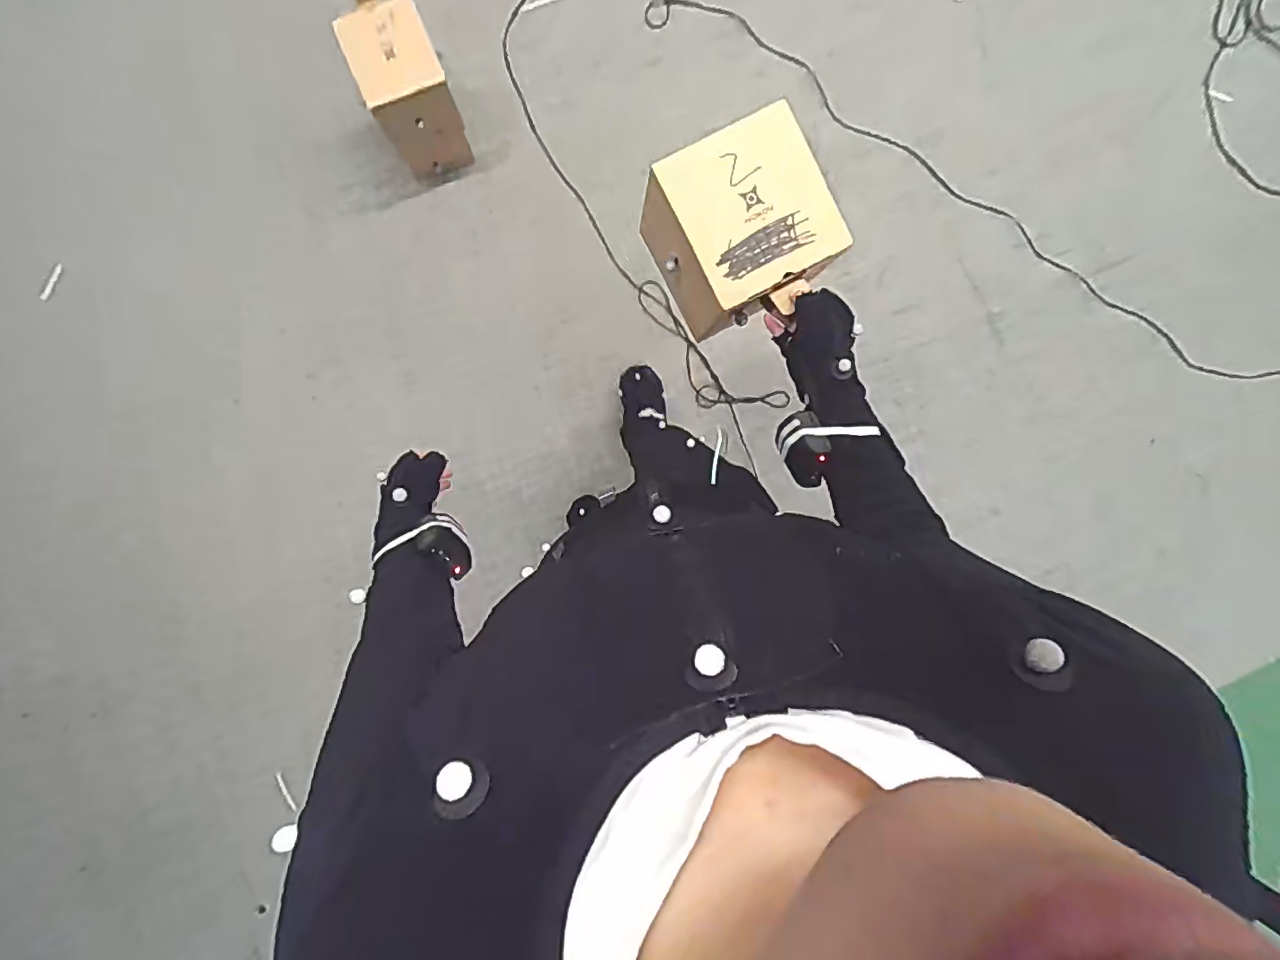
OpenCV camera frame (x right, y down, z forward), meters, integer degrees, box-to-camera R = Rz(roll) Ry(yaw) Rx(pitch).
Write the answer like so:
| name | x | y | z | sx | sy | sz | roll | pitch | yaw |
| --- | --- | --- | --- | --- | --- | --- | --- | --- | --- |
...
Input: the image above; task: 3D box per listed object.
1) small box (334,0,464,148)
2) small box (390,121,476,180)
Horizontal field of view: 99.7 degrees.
| name | x | y | z | sx | sy | sz | roll | pitch | yaw |
| --- | --- | --- | --- | --- | --- | --- | --- | --- | --- |
| small box | -0.493 | -0.838 | 1.137 | 0.168 | 0.176 | 0.179 | -22 | 95 | -2 |
| small box | -0.516 | -0.866 | 1.298 | 0.168 | 0.176 | 0.179 | -19 | 95 | -2 |
